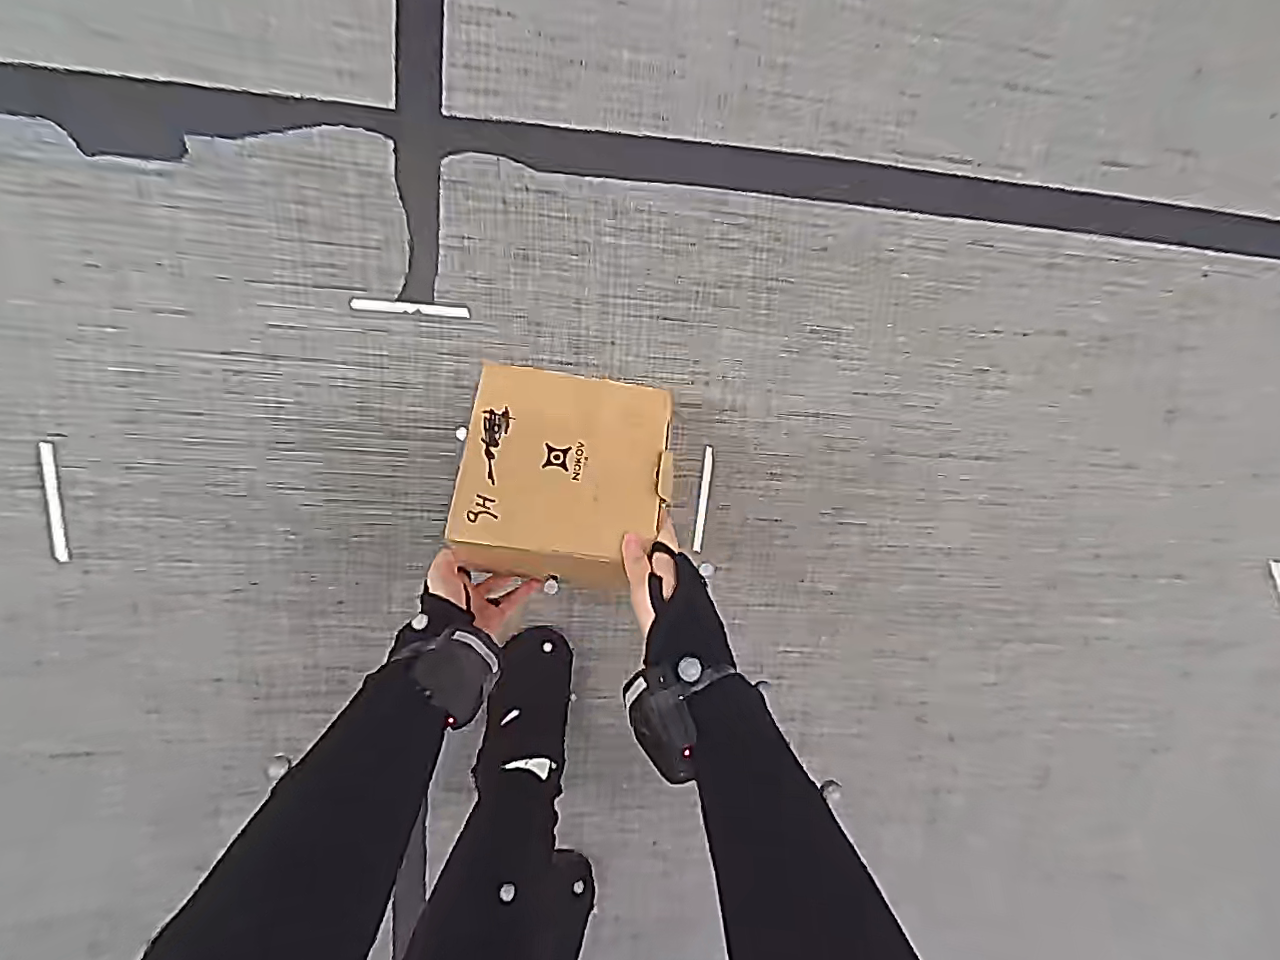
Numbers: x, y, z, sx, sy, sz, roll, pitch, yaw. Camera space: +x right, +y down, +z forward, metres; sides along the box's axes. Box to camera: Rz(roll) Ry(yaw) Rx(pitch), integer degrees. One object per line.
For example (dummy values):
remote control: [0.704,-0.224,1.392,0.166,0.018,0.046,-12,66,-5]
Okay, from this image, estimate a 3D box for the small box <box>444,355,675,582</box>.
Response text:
small box: [-0.075,0.003,0.540,0.179,0.176,0.168,9,70,-7]
